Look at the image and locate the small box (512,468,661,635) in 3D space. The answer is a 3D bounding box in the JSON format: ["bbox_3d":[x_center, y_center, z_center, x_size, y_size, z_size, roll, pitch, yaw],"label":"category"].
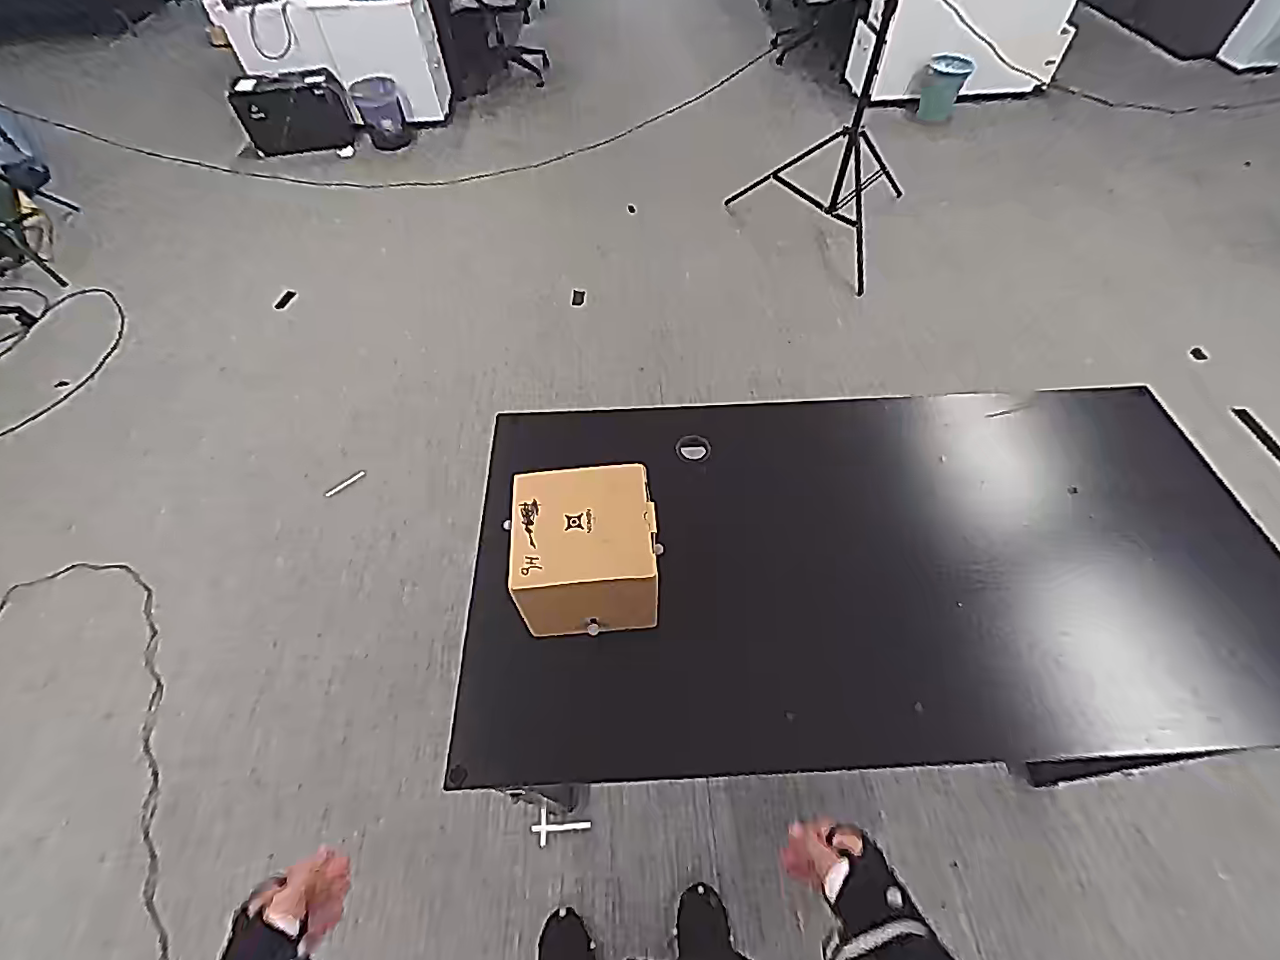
[{"bbox_3d":[-0.069,0.101,0.740,0.179,0.176,0.168,-4,55,-3],"label":"small box"}]
